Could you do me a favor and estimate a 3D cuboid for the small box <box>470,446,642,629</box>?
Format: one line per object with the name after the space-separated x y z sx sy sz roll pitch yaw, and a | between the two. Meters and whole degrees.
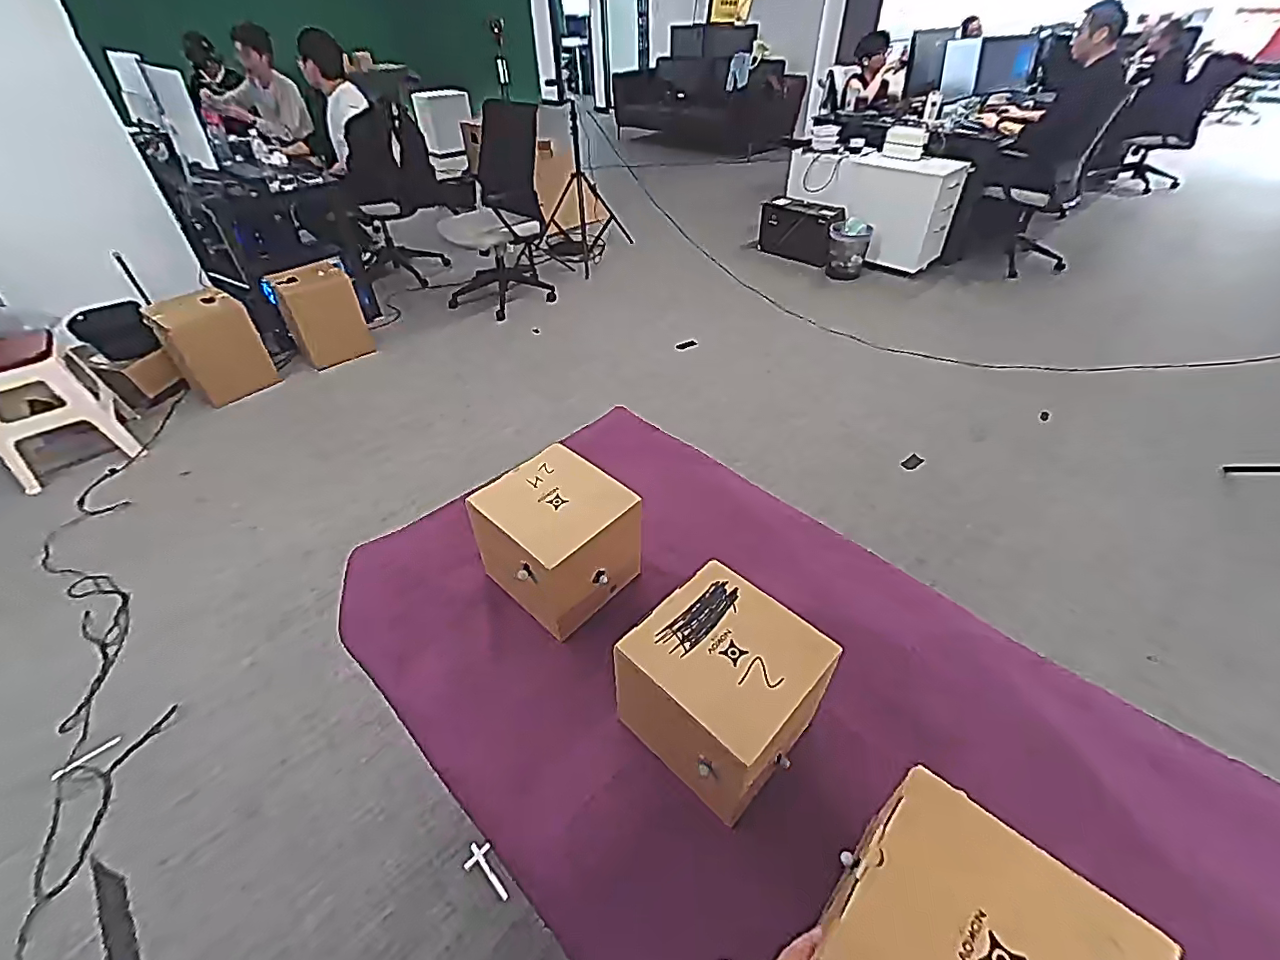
-0.114 0.087 0.784 0.179 0.176 0.168 33 51 29 | small box
